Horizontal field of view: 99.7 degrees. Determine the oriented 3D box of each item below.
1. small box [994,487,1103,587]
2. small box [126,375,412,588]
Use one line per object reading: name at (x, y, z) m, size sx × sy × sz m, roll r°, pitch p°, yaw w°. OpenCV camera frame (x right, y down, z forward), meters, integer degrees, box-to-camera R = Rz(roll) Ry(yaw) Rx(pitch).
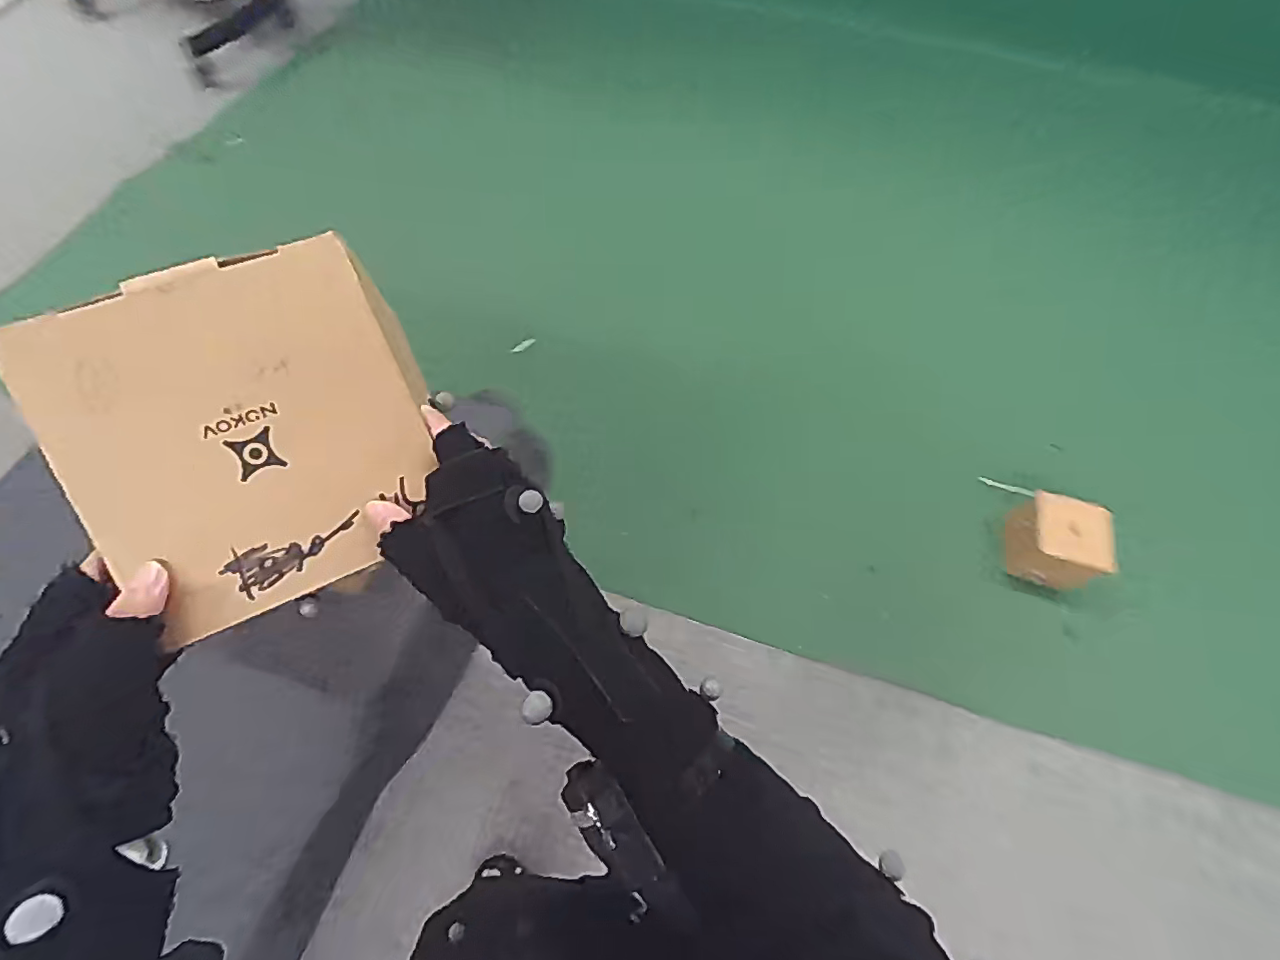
small box at (1.048, 0.151, 1.398) m, size 0.168 × 0.176 × 0.179 m, roll 17°, pitch 64°, yaw 9°
small box at (-0.400, 0.011, 0.624) m, size 0.179 × 0.176 × 0.168 m, roll 16°, pitch 64°, yaw 8°
